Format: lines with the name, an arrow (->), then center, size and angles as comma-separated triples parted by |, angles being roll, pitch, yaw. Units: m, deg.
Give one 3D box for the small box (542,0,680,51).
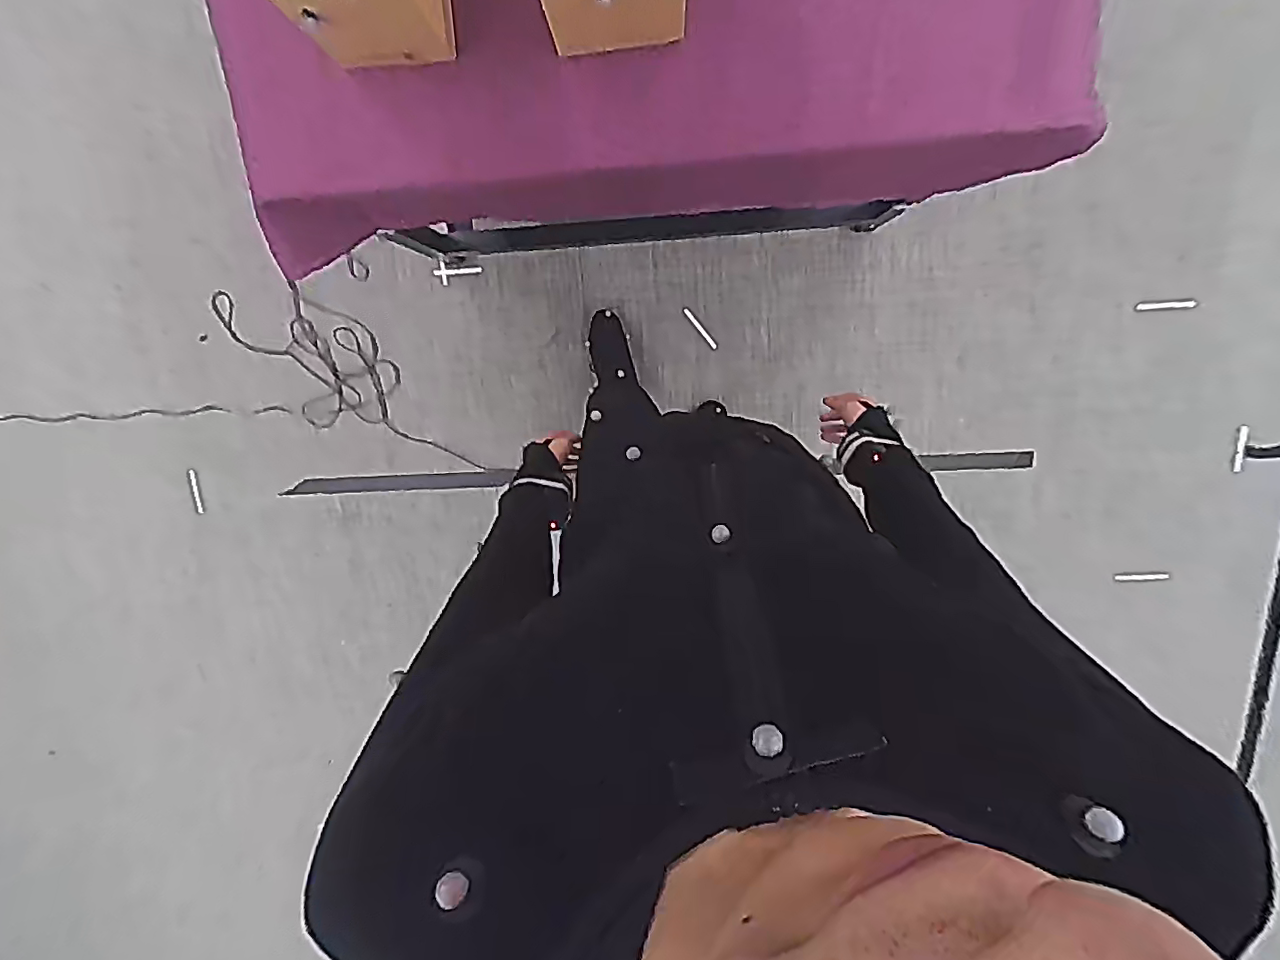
small box -> -0.041, -0.661, 0.657 | 0.179, 0.176, 0.168 | -5, 103, 3
